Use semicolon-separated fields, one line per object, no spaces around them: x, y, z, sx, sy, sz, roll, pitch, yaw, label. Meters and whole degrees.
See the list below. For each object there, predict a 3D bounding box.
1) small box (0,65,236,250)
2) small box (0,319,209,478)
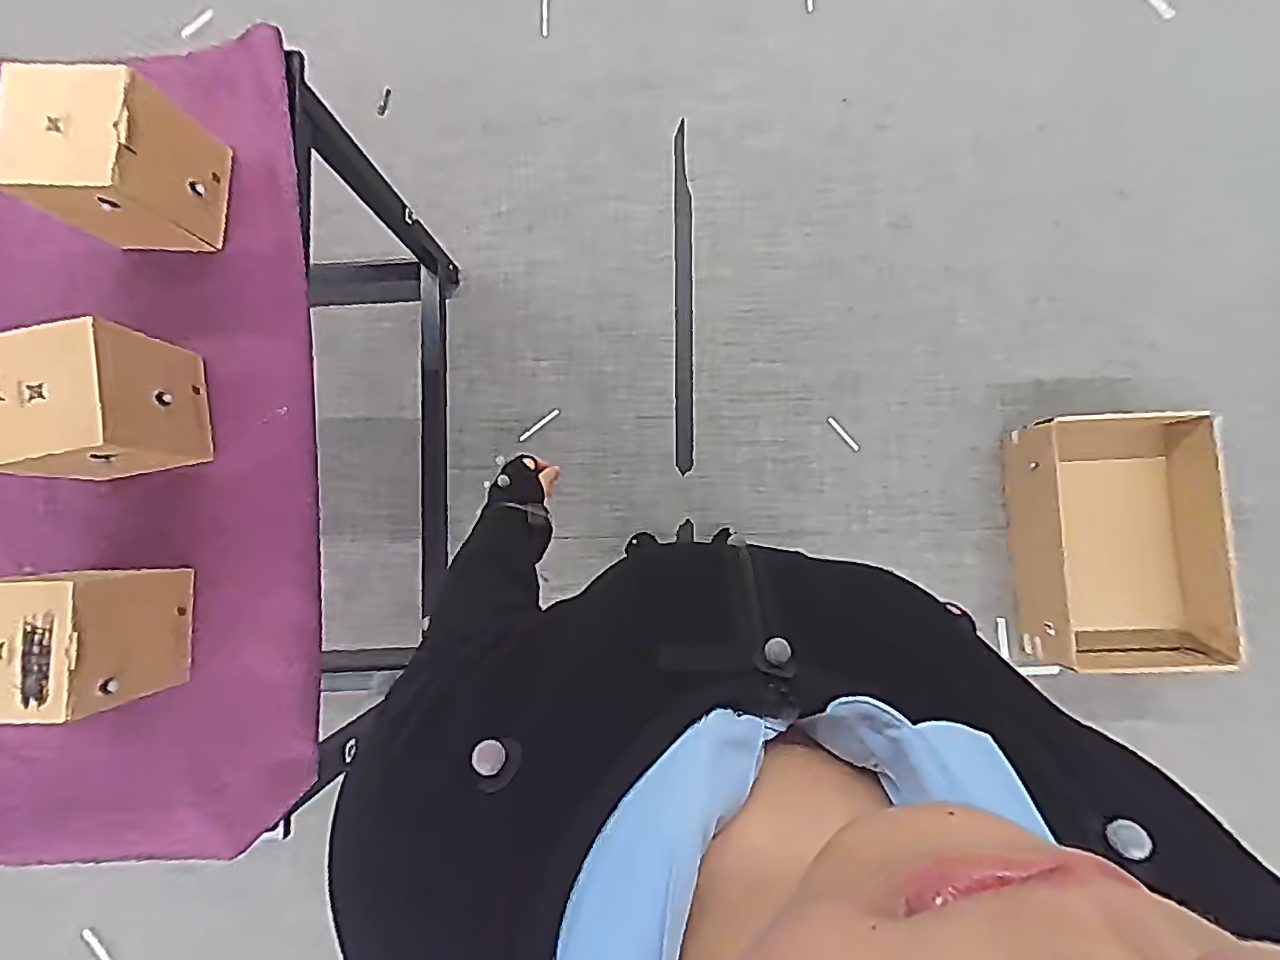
-0.731;-0.445;0.769;0.179;0.176;0.168;3;86;3;small box
-0.737;-0.101;0.743;0.179;0.176;0.168;-10;85;2;small box
